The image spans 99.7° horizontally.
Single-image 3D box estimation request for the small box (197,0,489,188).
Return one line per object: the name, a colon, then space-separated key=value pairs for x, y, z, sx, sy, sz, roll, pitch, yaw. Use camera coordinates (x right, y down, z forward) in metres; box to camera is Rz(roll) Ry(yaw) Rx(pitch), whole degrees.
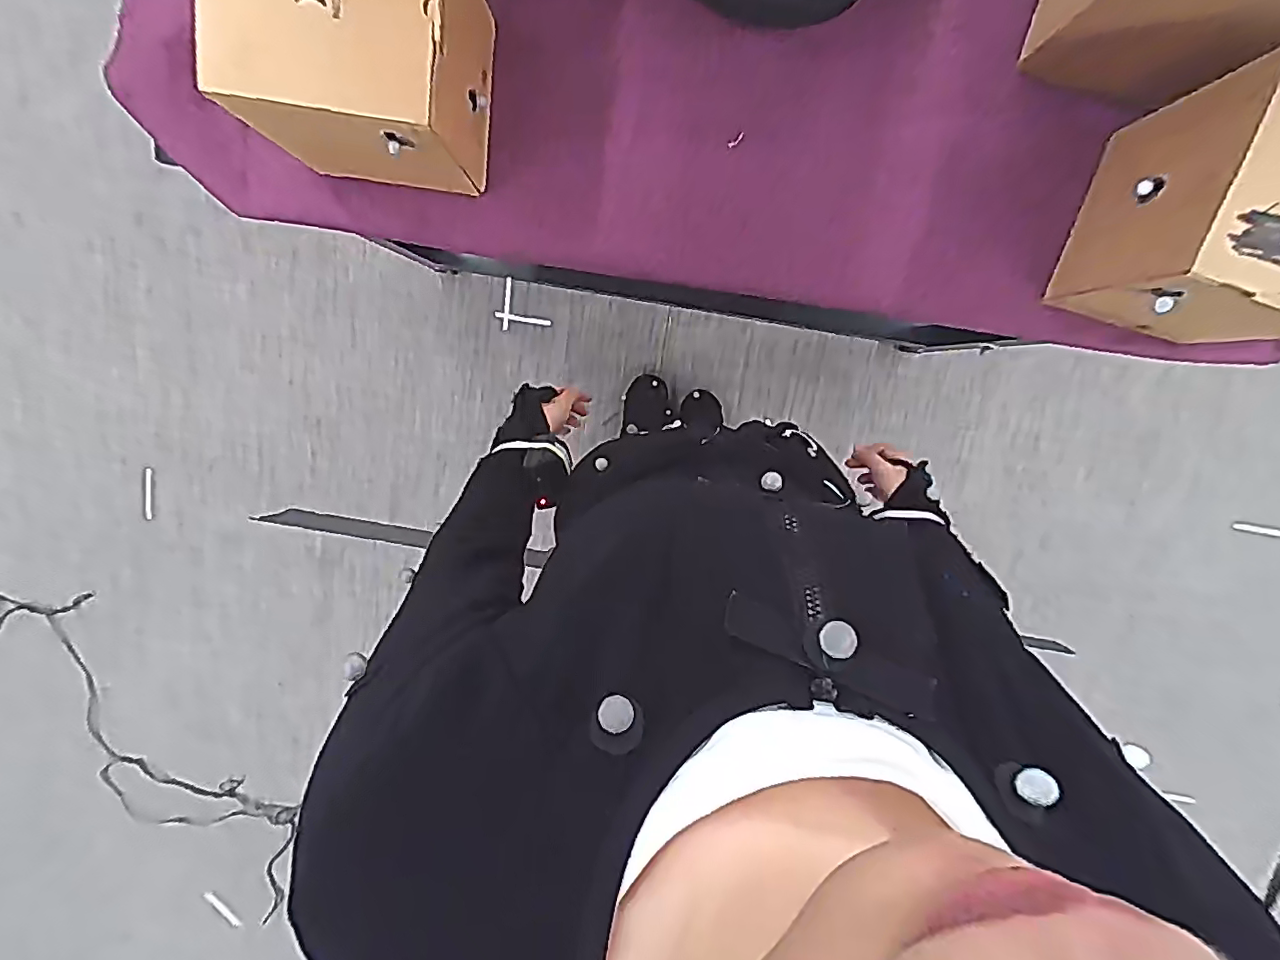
small box: x=-0.247 y=-0.383 z=0.484 sx=0.179 sy=0.176 sz=0.168 roll=6 pitch=101 yaw=-4
